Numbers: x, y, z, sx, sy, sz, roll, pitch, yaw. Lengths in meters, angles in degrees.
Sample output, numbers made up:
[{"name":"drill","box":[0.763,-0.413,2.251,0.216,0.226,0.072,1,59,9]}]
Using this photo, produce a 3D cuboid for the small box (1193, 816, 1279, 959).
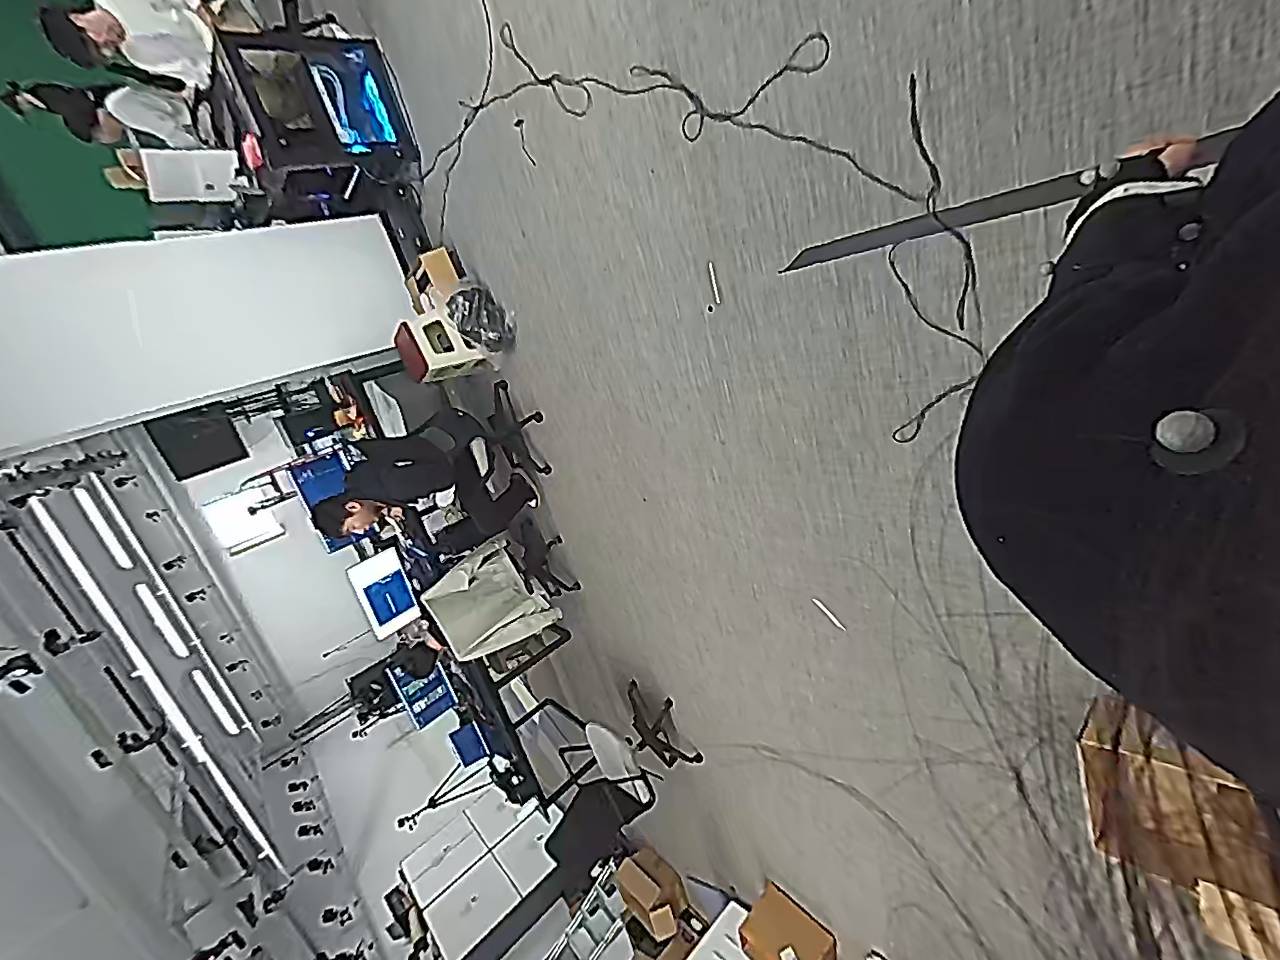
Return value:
[{"name":"small box","box":[1.292,0.863,1.133,0.168,0.176,0.179,0,114,52]}]
